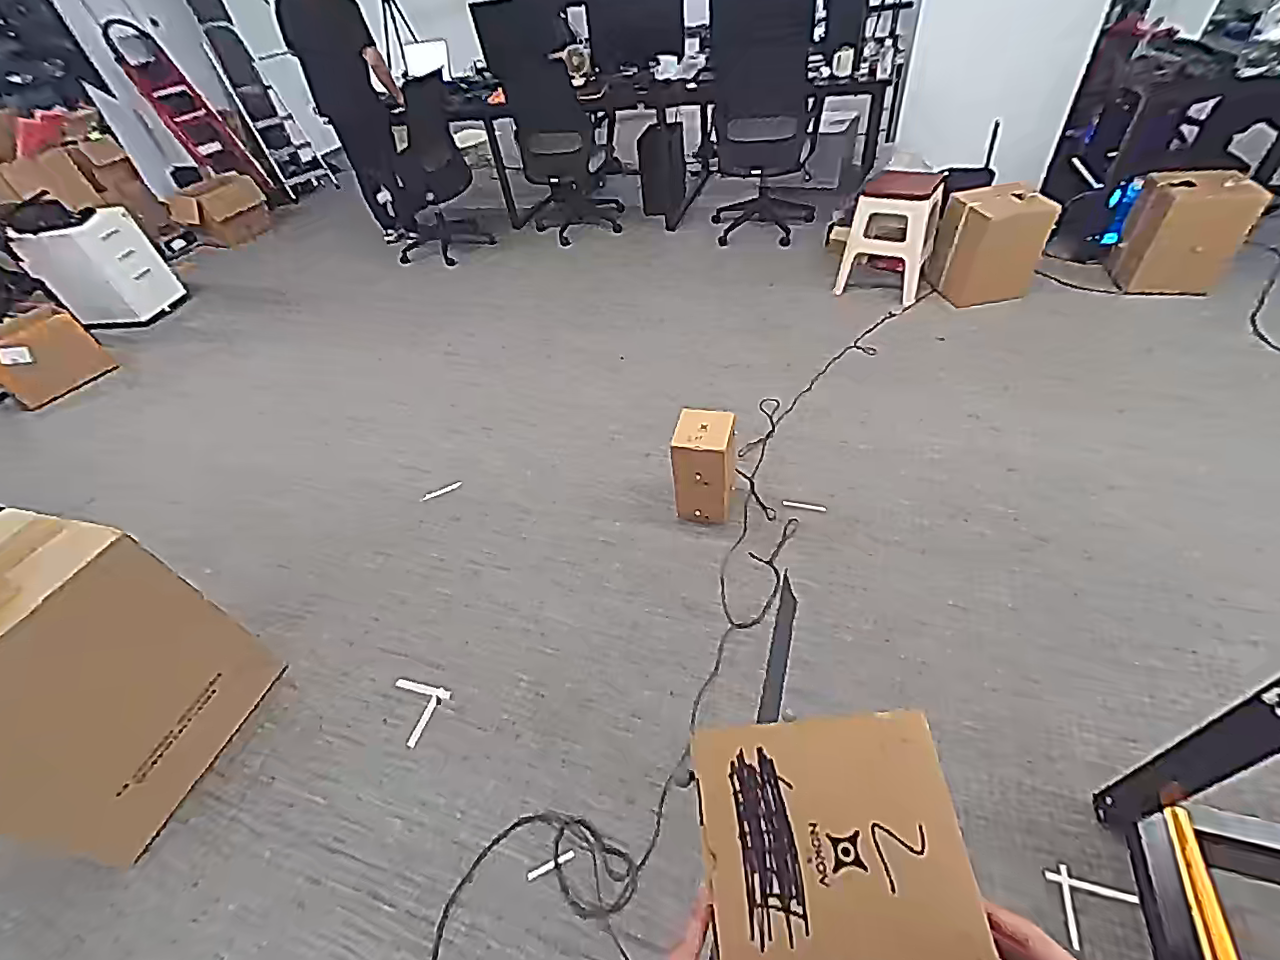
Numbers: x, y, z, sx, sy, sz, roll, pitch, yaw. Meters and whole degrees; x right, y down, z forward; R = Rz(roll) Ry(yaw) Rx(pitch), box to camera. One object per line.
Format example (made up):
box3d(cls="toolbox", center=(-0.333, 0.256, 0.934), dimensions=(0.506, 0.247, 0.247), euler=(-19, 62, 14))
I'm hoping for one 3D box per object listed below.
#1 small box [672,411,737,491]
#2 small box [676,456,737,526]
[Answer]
box3d(cls="small box", center=(0.204, -0.091, 1.676), dimensions=(0.168, 0.176, 0.179), euler=(7, 47, 17))
box3d(cls="small box", center=(0.223, 0.024, 1.792), dimensions=(0.168, 0.176, 0.179), euler=(8, 48, 18))
